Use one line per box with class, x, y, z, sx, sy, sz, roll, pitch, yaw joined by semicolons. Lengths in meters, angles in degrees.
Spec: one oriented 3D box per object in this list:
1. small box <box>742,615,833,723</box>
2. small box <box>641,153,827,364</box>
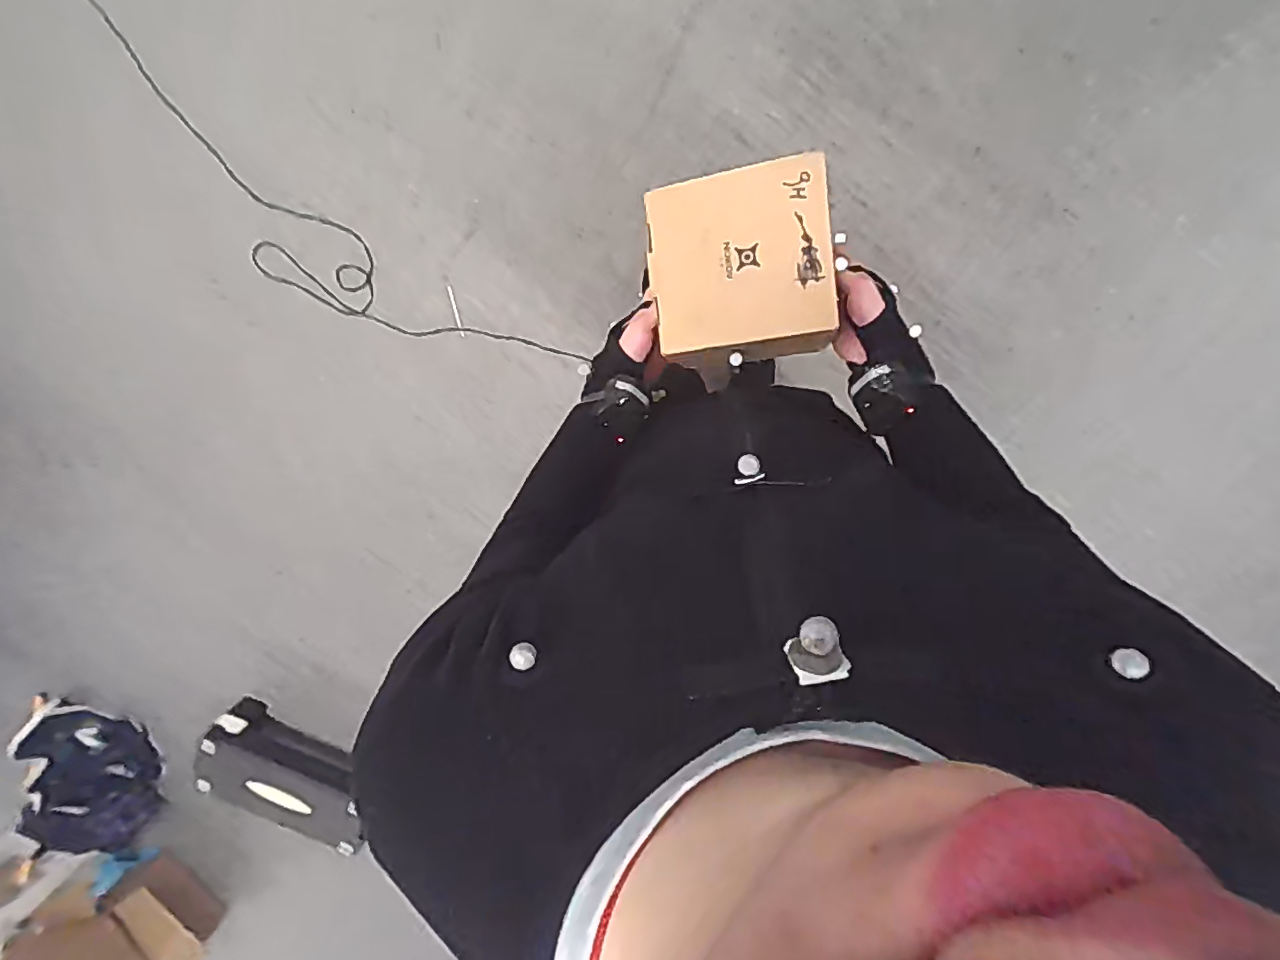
small box;0.391;0.507;1.468;0.168;0.176;0.179;30;109;-4
small box;0.111;-0.228;0.609;0.179;0.176;0.168;-4;96;15
